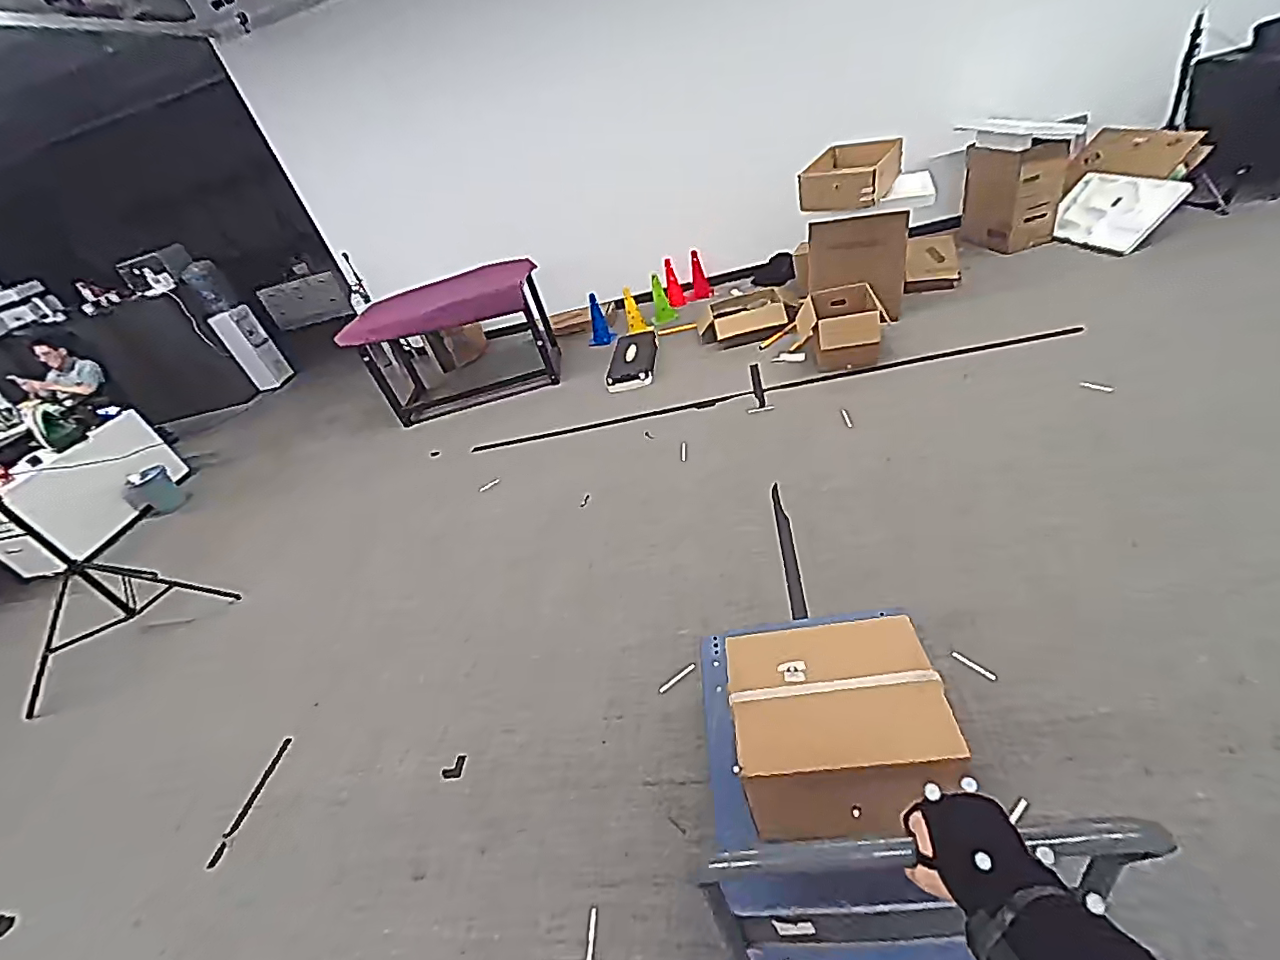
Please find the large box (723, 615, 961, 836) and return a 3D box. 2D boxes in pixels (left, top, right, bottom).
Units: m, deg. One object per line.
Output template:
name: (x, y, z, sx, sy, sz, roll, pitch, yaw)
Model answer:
large box: (0.424, 0.546, 1.196, 0.408, 0.320, 0.320, -12, 35, 10)
